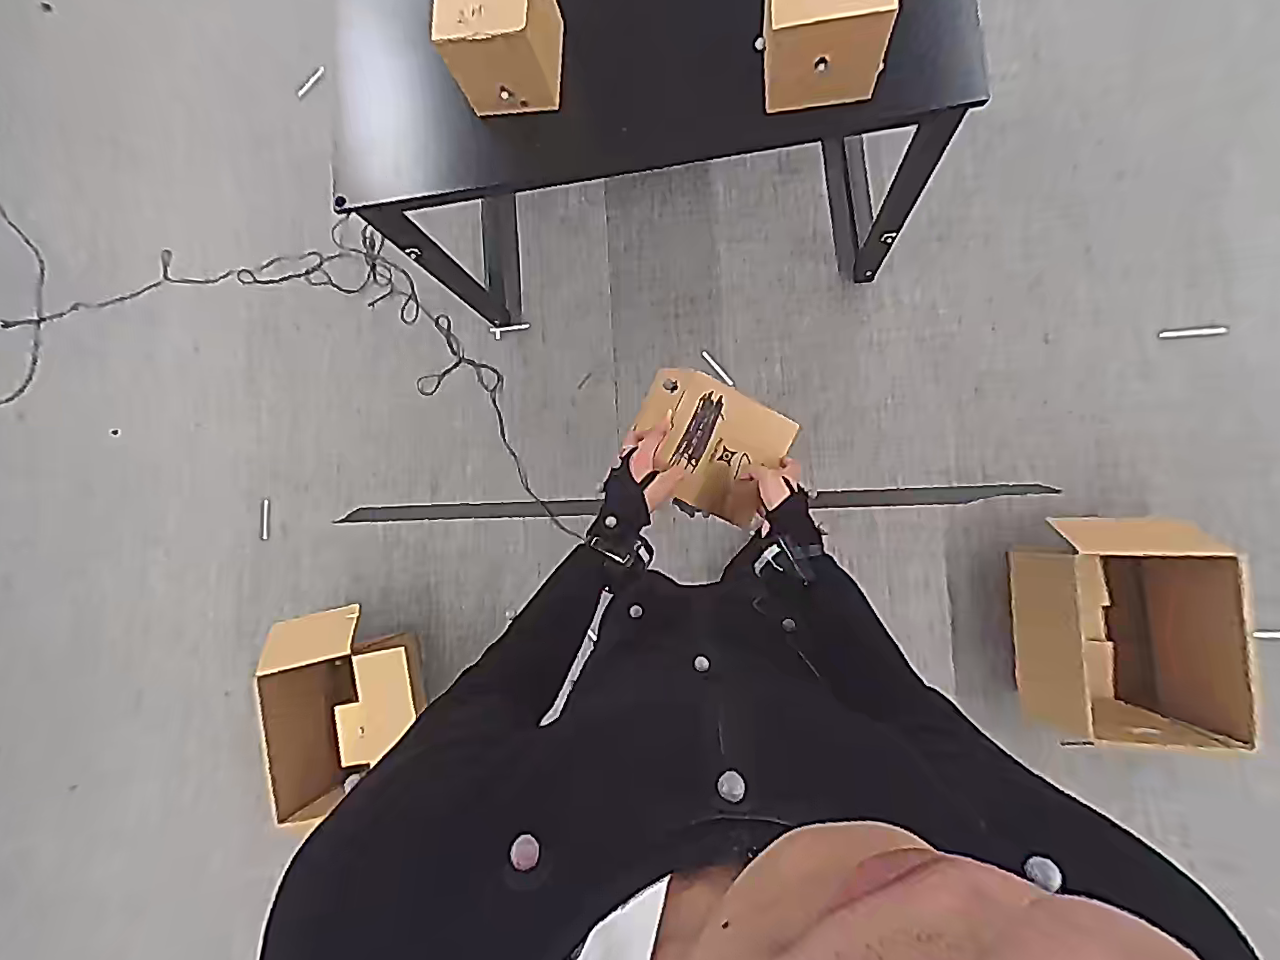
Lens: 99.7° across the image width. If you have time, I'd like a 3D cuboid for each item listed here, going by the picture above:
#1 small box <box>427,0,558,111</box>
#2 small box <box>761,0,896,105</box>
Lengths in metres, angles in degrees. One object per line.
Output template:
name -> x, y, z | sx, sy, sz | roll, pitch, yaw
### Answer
small box -> -0.248, -0.792, 0.946 | 0.168, 0.176, 0.179 | 2, 86, 10
small box -> 0.284, -0.735, 0.849 | 0.179, 0.176, 0.168 | -2, 85, 11
